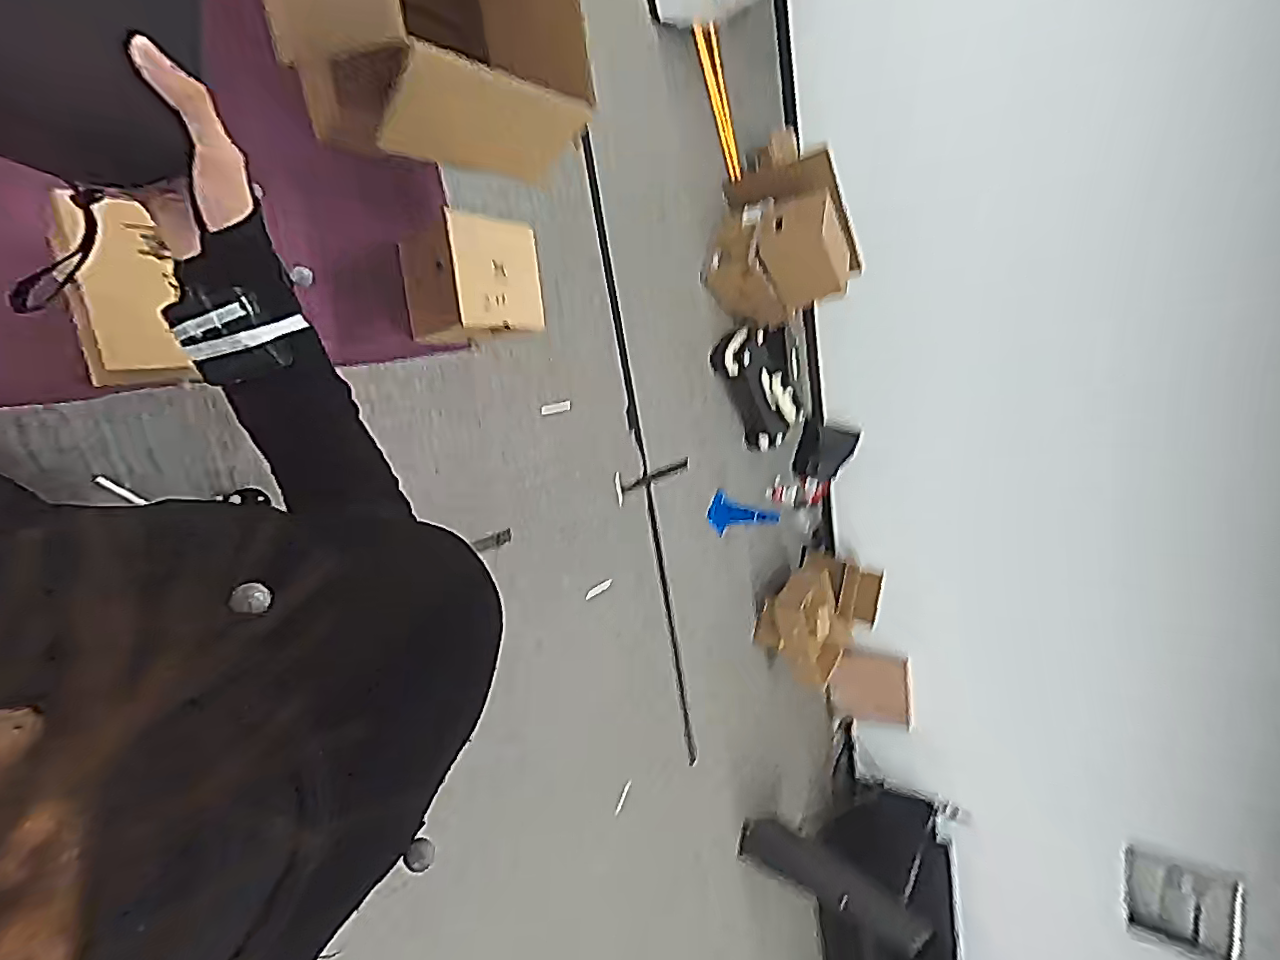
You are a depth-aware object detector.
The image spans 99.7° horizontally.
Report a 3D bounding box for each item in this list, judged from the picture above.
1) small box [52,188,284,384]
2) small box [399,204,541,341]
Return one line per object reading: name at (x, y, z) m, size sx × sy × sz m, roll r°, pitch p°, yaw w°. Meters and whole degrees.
small box at (-0.562, -0.216, 0.646) m, size 0.168 × 0.176 × 0.179 m, roll -19°, pitch 106°, yaw -46°
small box at (-0.297, -0.347, 0.939) m, size 0.168 × 0.176 × 0.179 m, roll -15°, pitch 102°, yaw -46°
